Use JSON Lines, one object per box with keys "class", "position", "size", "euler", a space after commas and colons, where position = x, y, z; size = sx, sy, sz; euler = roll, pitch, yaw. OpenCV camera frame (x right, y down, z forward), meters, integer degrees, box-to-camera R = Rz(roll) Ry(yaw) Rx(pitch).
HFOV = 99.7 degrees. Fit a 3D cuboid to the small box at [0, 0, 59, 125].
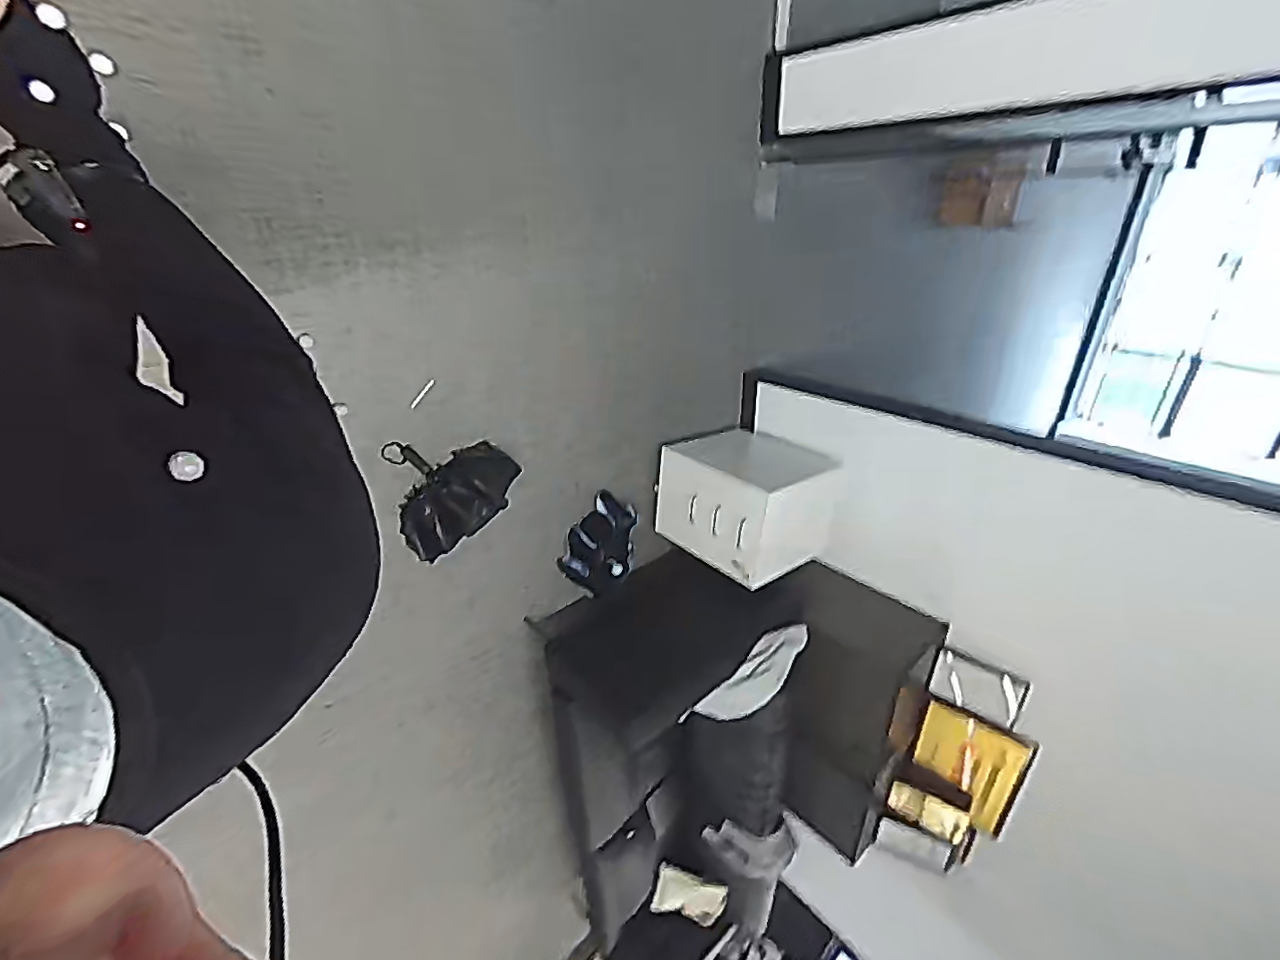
{"class": "small box", "position": [-0.626, -0.415, 0.429], "size": [0.168, 0.176, 0.179], "euler": [-18, 104, -30]}
